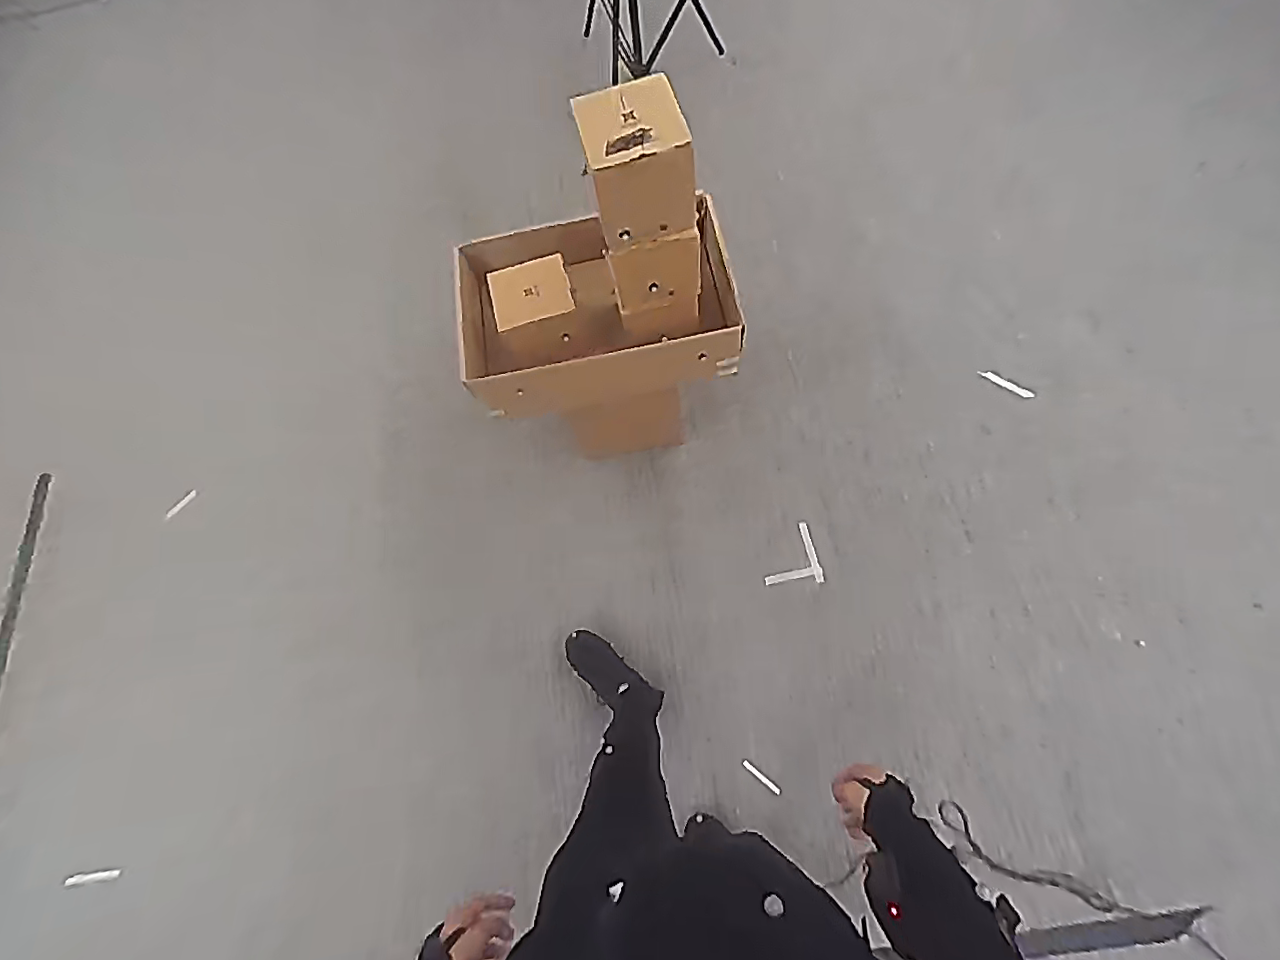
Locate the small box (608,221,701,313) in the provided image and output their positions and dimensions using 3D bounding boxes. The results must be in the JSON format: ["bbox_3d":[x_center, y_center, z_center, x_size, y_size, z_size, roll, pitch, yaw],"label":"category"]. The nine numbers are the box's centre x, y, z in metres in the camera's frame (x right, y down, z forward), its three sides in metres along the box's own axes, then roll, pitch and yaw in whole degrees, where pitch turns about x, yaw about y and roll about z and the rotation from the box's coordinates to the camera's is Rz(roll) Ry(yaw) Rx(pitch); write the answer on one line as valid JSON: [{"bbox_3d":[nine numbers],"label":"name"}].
[{"bbox_3d":[0.022,-0.469,1.084,0.168,0.176,0.179,-13,70,2],"label":"small box"}]

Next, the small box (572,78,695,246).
[{"bbox_3d":[-0.005,-0.535,0.935,0.168,0.176,0.179,-16,69,0],"label":"small box"}]
